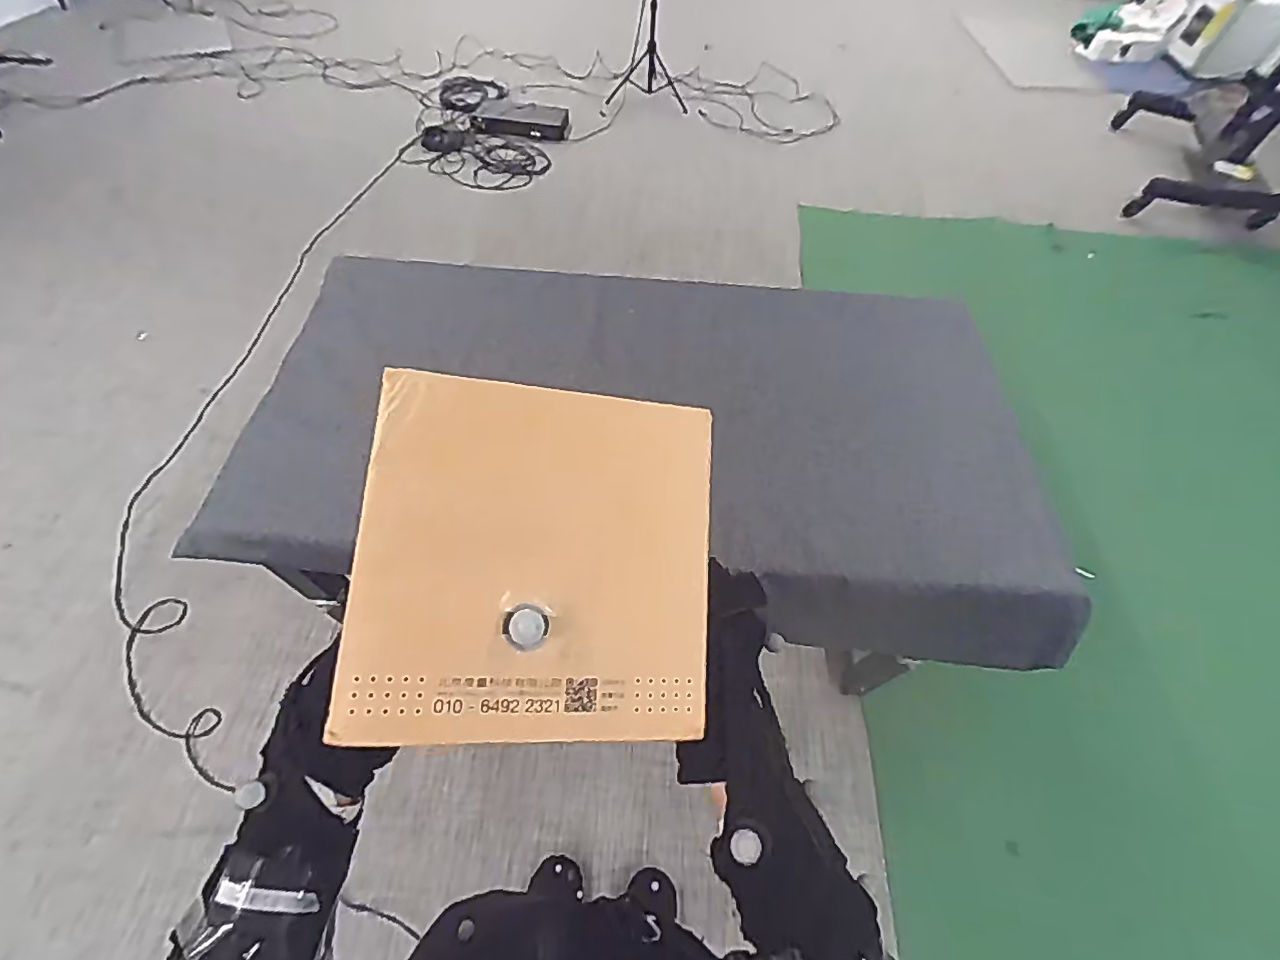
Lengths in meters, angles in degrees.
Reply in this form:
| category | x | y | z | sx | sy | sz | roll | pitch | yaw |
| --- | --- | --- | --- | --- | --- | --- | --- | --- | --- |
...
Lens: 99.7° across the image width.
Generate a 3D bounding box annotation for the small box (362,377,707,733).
| category | x | y | z | sx | sy | sz | roll | pitch | yaw |
| --- | --- | --- | --- | --- | --- | --- | --- | --- | --- |
| small box | -0.065 | 0.054 | 0.353 | 0.168 | 0.179 | 0.176 | 6 | 77 | -13 |
